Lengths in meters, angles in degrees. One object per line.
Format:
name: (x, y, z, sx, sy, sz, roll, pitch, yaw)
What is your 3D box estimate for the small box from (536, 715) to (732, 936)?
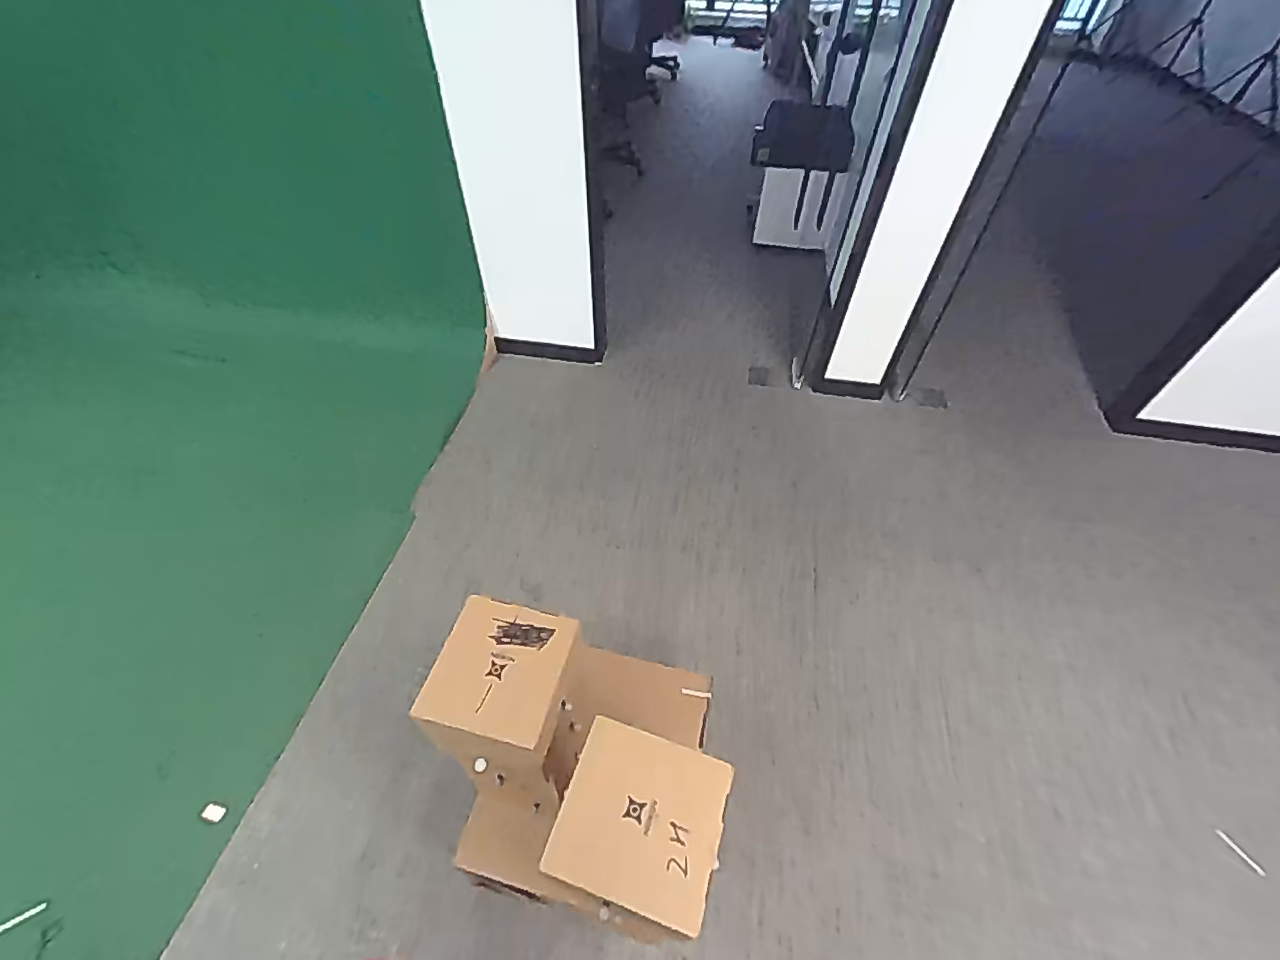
small box: (-0.003, 0.418, 0.651, 0.179, 0.176, 0.168, 16, 50, 11)

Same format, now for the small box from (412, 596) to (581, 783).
small box: (-0.186, 0.297, 0.765, 0.168, 0.176, 0.179, 11, 49, 9)

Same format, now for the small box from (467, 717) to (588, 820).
small box: (-0.196, 0.511, 1.013, 0.168, 0.176, 0.179, 11, 47, 8)

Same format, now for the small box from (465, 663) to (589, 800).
small box: (-0.187, 0.398, 0.894, 0.168, 0.176, 0.179, 12, 50, 8)
